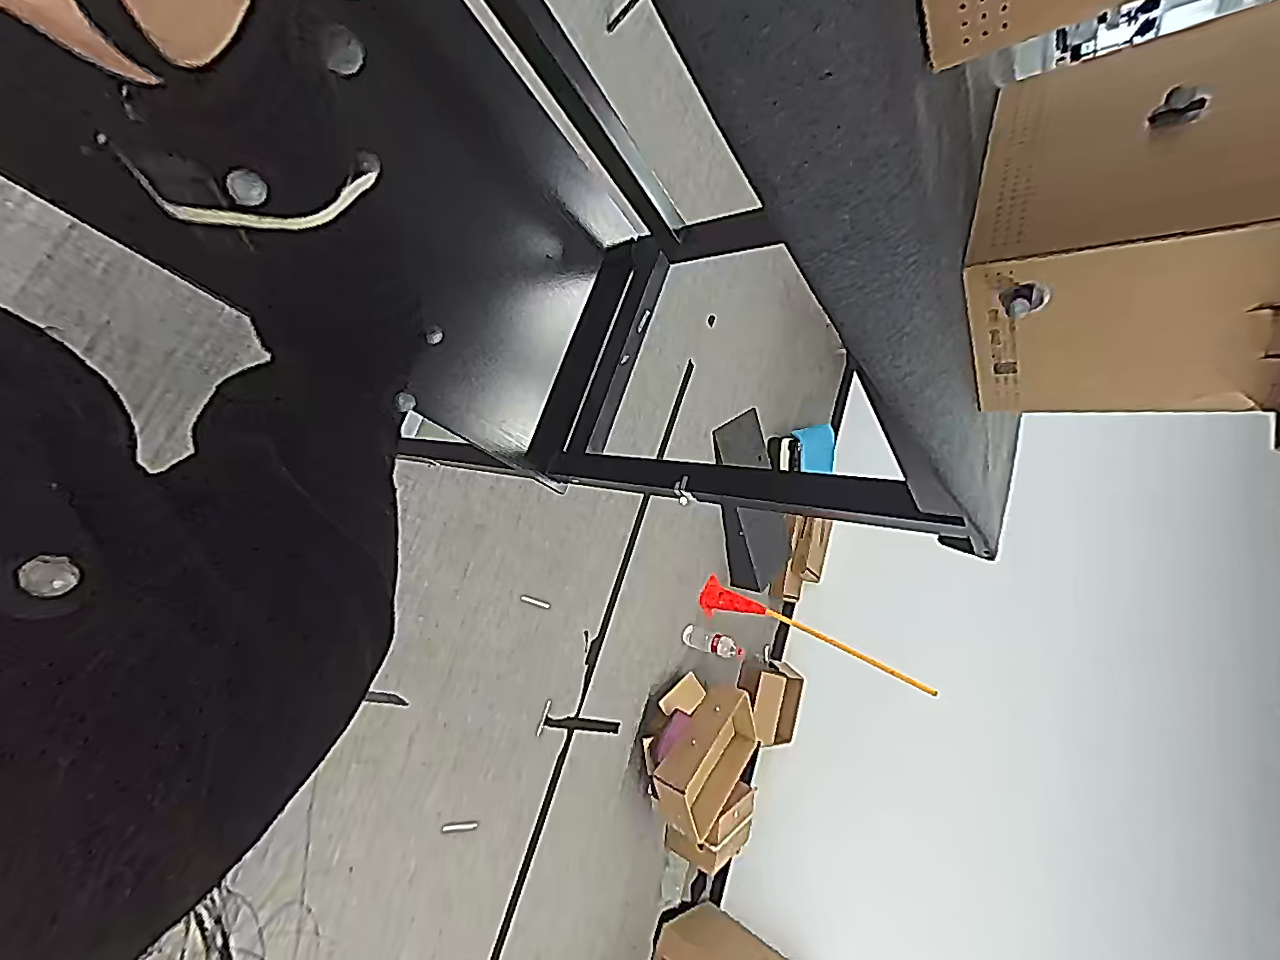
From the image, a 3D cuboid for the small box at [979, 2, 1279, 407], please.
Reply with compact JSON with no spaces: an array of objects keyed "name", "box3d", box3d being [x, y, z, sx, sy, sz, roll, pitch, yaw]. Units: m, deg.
[{"name":"small box","box3d":[0.339,-0.164,0.370,0.168,0.176,0.179,41,62,-47]}]
